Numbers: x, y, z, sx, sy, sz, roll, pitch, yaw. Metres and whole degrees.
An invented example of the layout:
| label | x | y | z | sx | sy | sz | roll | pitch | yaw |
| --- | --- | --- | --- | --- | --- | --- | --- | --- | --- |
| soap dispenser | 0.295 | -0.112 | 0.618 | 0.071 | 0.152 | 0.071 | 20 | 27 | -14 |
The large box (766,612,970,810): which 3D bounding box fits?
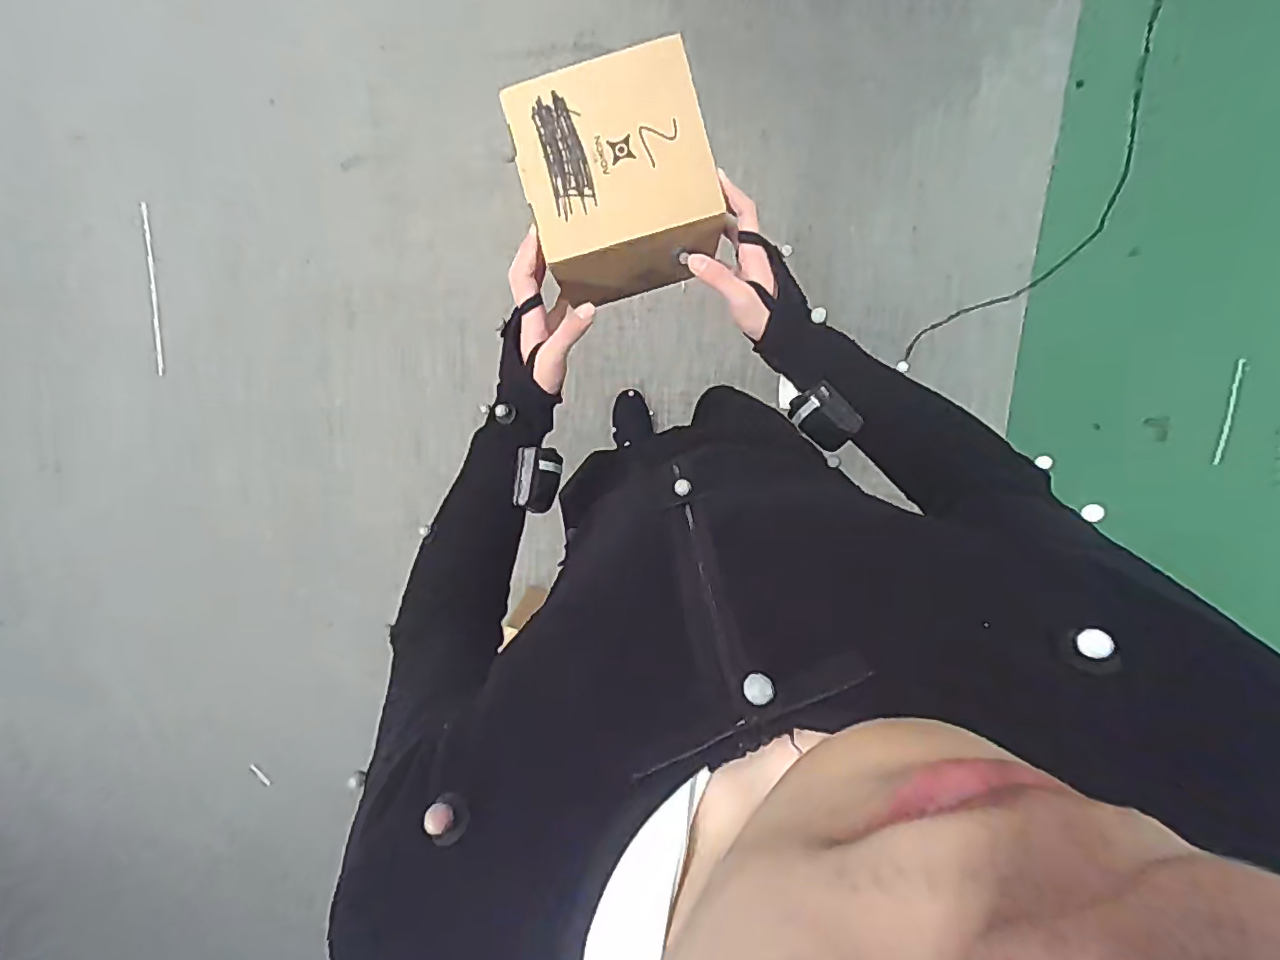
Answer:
| label | x | y | z | sx | sy | sz | roll | pitch | yaw |
| --- | --- | --- | --- | --- | --- | --- | --- | --- | --- |
| large box | 0.648 | 0.661 | 1.600 | 0.408 | 0.320 | 0.320 | -29 | 99 | 3 |
